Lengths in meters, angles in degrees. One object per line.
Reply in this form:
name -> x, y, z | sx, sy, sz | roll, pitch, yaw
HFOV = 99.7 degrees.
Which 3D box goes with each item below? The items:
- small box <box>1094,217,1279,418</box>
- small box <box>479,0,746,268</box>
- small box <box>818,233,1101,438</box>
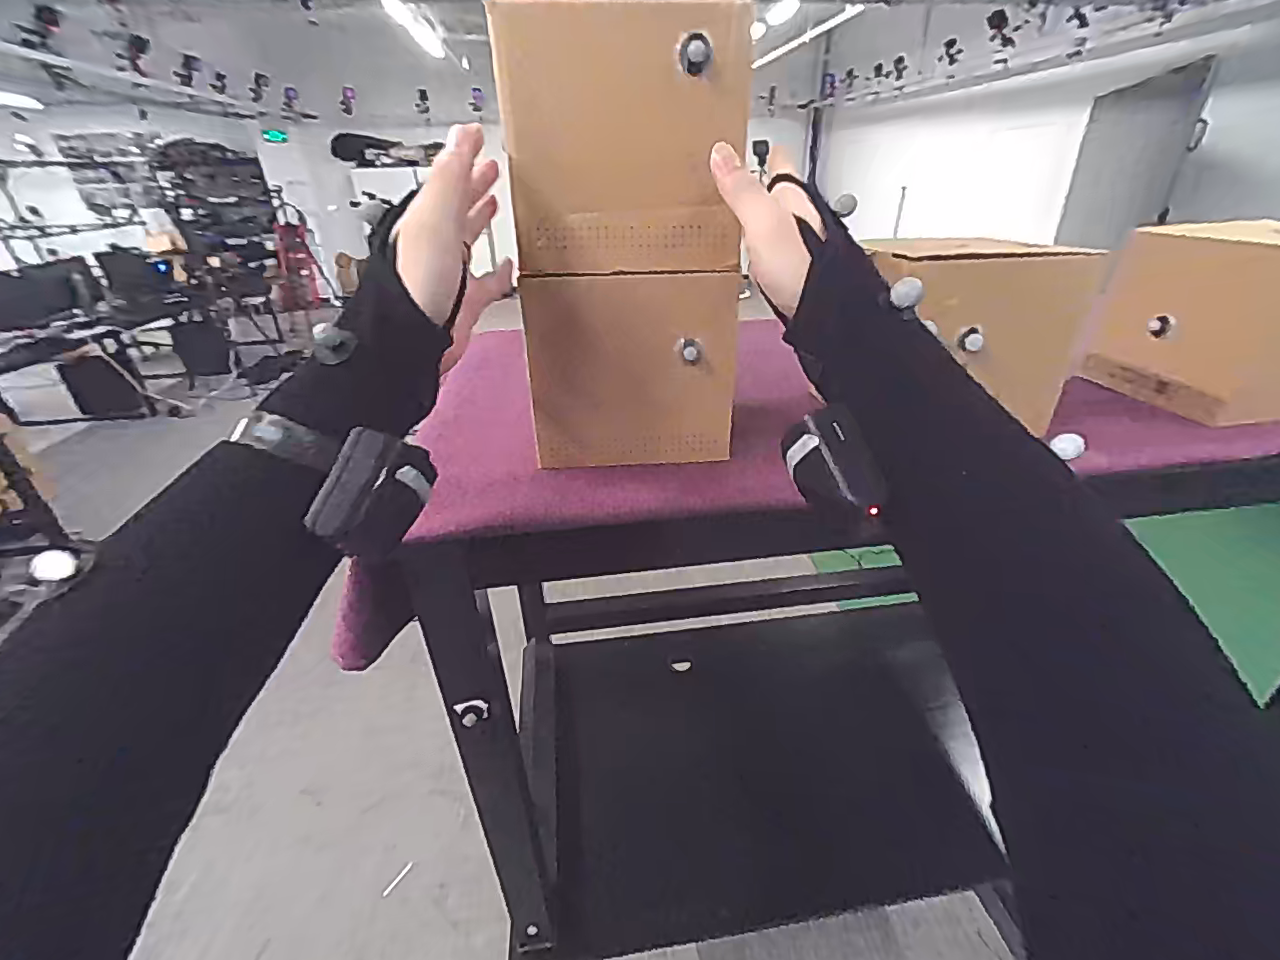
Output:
small box -> 0.625, -0.171, 0.561 | 0.179, 0.176, 0.168 | -6, 30, -5
small box -> -0.018, -0.272, 0.449 | 0.179, 0.176, 0.168 | -2, 28, -3
small box -> 0.290, -0.147, 0.541 | 0.179, 0.176, 0.168 | -4, 28, -3
